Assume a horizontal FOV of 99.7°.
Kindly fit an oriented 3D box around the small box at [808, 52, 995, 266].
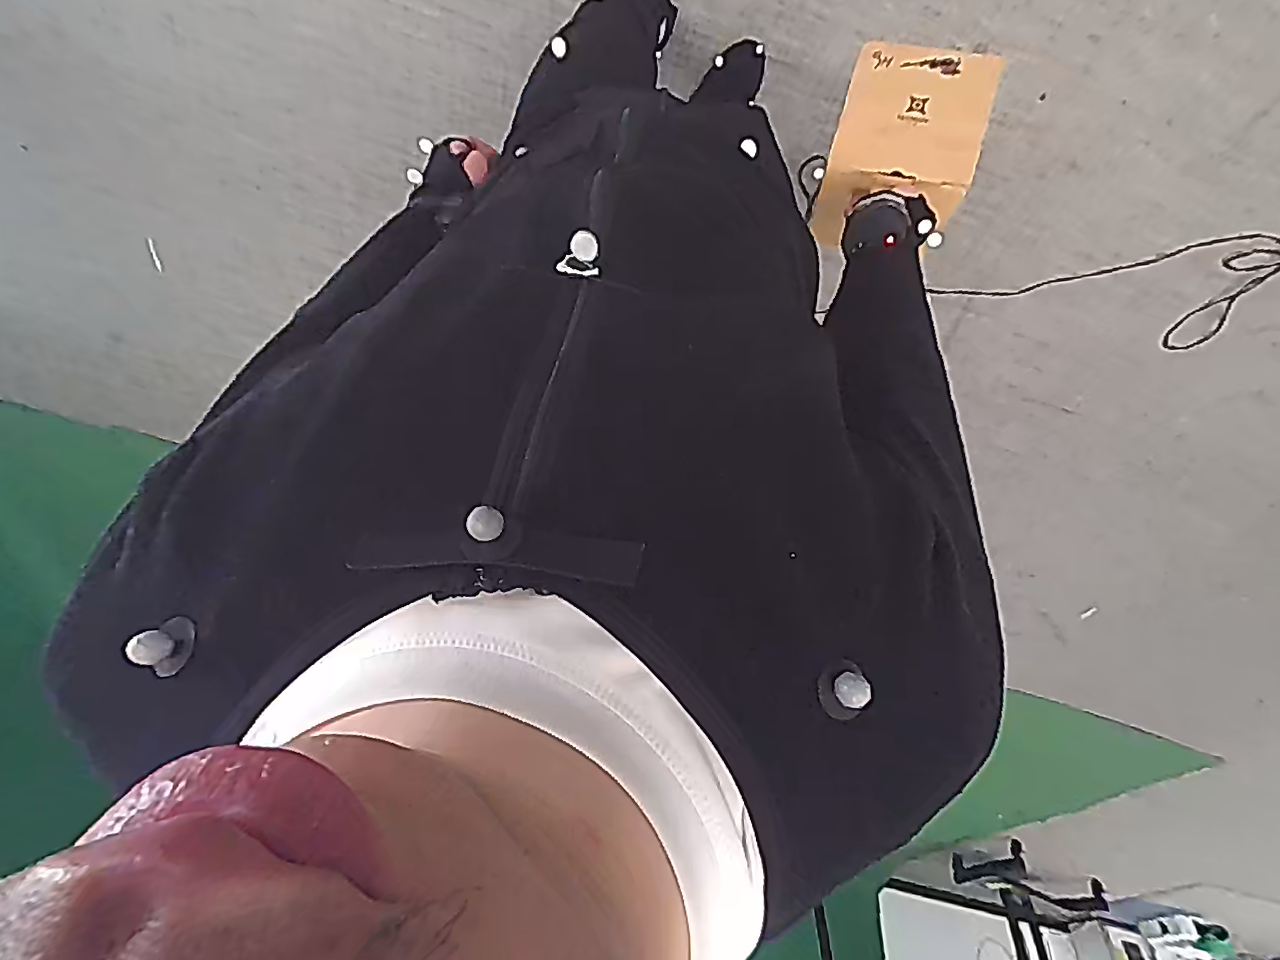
[{"bbox_3d":[0.334,-0.418,0.728,0.168,0.179,0.176,17,173,11],"label":"small box"}]
